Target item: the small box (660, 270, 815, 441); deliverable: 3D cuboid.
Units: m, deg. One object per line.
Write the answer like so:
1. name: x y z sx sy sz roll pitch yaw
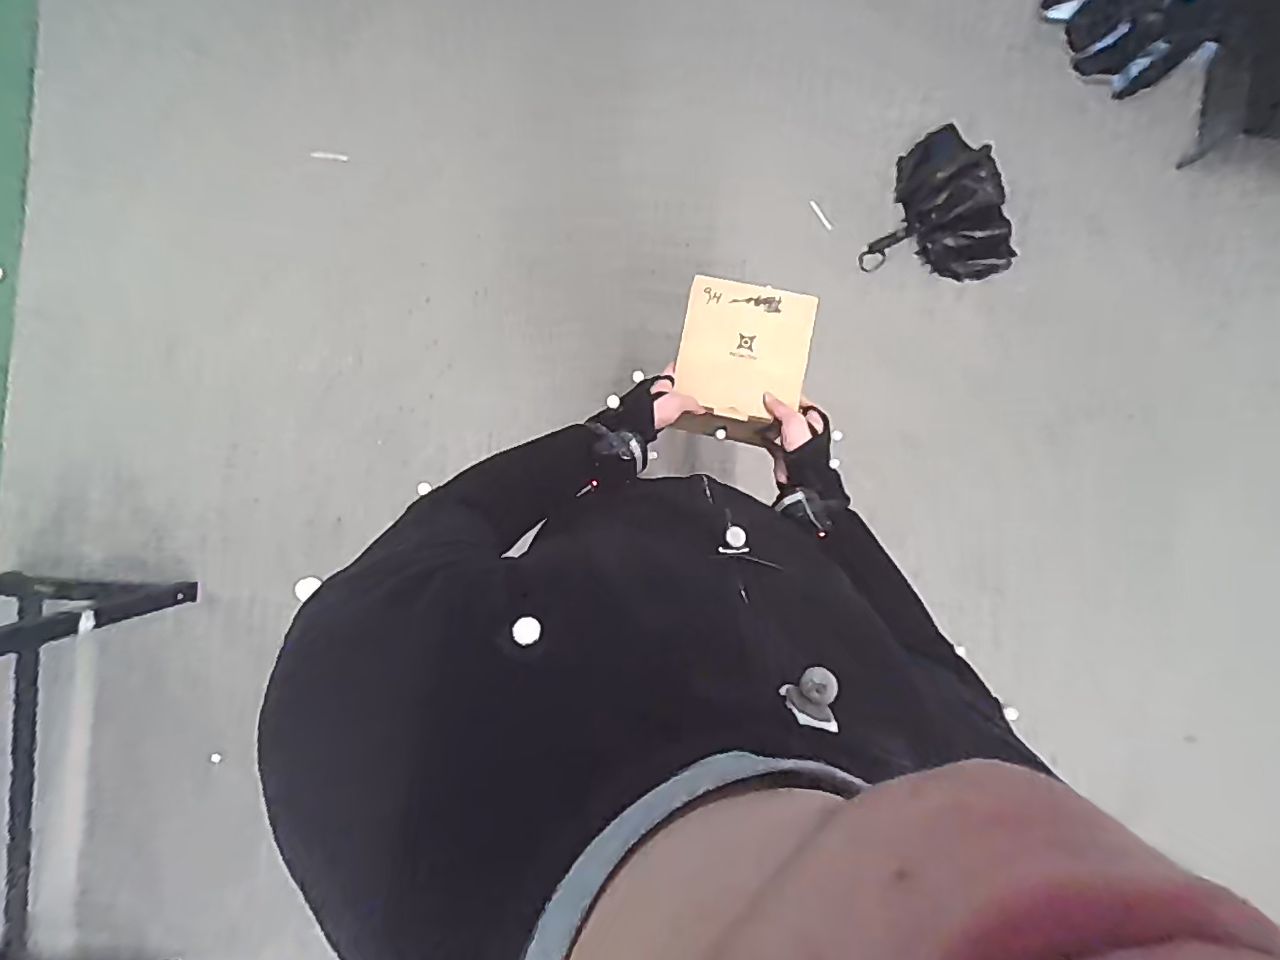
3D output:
1. small box: 0.126 -0.161 0.757 0.168 0.176 0.179 12 86 2
